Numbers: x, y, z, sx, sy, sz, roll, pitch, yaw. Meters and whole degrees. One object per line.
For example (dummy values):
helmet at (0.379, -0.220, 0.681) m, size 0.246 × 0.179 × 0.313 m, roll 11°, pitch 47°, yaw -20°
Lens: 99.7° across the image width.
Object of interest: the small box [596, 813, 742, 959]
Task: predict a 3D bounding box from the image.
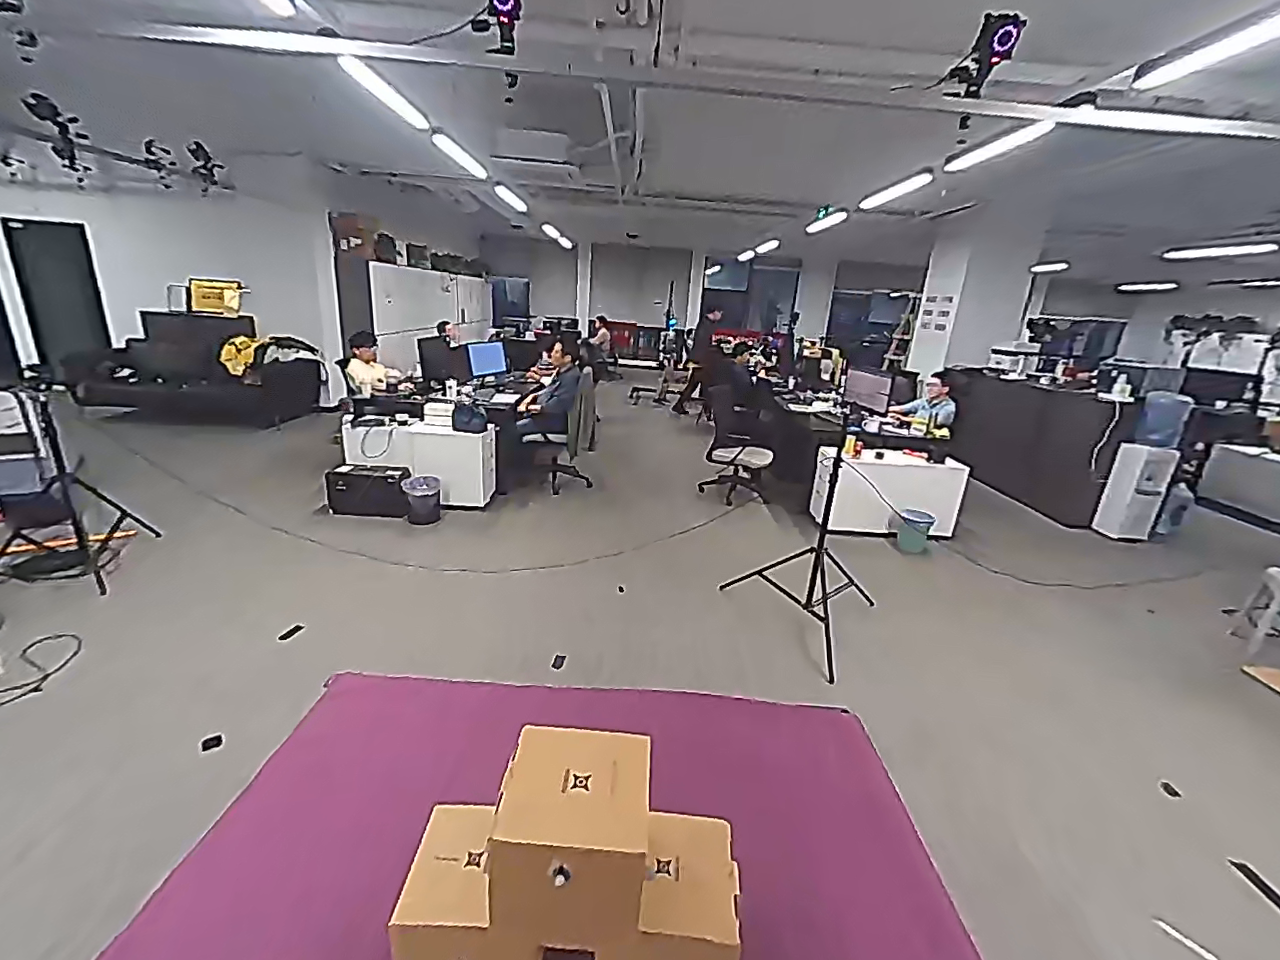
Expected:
small box at (0.037, 0.600, 0.746) m, size 0.179 × 0.176 × 0.168 m, roll 4°, pitch 17°, yaw 3°

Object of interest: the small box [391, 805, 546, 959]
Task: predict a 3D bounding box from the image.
small box at (-0.214, 0.583, 0.739) m, size 0.179 × 0.176 × 0.168 m, roll 2°, pitch 17°, yaw -2°

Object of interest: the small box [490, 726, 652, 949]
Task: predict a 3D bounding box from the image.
small box at (-0.079, 0.441, 0.678) m, size 0.179 × 0.176 × 0.168 m, roll 5°, pitch 19°, yaw 0°
